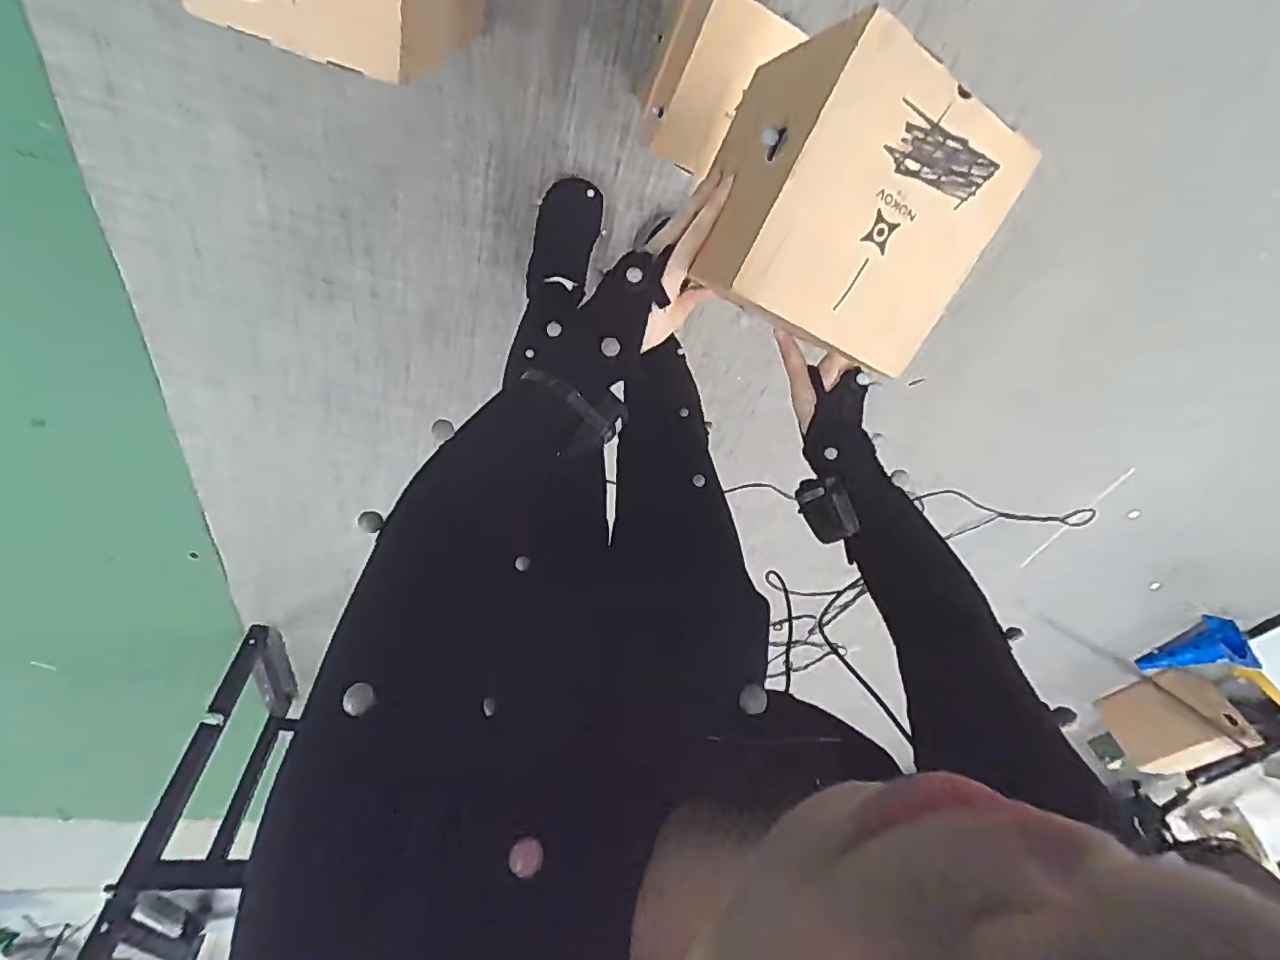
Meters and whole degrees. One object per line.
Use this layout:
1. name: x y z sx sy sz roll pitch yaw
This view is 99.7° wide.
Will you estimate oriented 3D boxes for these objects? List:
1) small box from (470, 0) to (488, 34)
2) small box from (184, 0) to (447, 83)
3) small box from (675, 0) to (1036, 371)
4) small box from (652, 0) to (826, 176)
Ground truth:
1. small box: -0.280 -0.699 0.686 0.168 0.176 0.179 13 131 -16
2. small box: -0.260 -0.472 0.451 0.168 0.176 0.179 12 131 -13
3. small box: 0.148 -0.217 0.435 0.168 0.176 0.179 20 110 -22
4. small box: 0.121 -0.490 0.686 0.168 0.176 0.179 16 130 -18
